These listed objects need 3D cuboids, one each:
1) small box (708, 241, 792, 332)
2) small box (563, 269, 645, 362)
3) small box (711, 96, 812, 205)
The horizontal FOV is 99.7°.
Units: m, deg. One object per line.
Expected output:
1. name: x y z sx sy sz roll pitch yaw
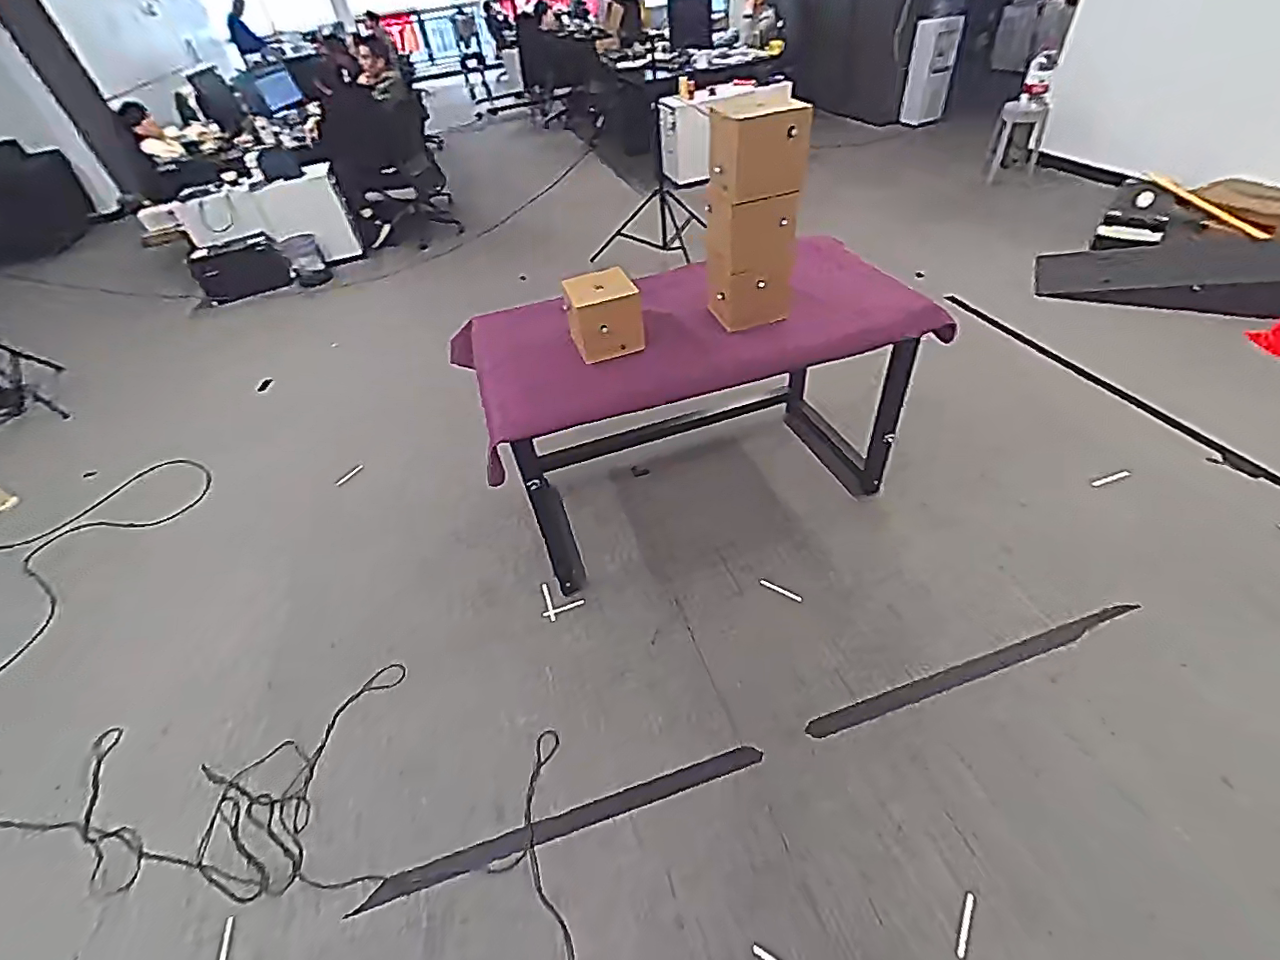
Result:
1. small box: 0.297 -0.527 1.480 0.179 0.176 0.168 -15 45 -7
2. small box: -0.094 -0.434 1.447 0.168 0.176 0.179 -18 44 -9
3. small box: 0.271 -0.761 1.250 0.179 0.176 0.168 -16 44 -7
